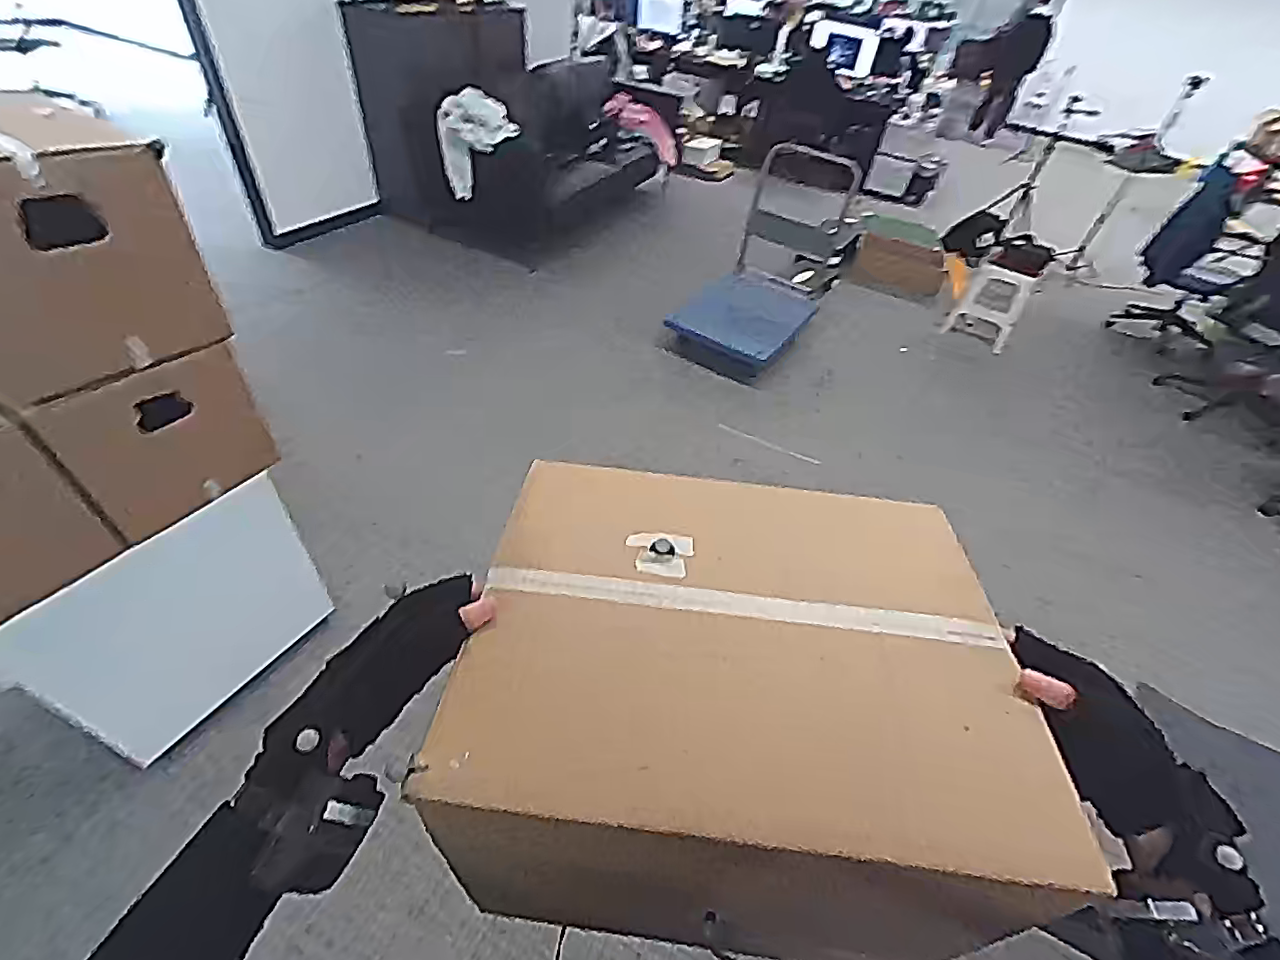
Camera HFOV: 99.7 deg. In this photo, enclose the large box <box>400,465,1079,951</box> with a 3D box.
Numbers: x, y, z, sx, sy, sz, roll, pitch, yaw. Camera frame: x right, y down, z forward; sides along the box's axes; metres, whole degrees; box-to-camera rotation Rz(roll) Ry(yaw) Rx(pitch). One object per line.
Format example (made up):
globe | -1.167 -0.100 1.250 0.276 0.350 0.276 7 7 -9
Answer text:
large box | 0.064 0.213 0.521 0.408 0.320 0.320 6 41 3
